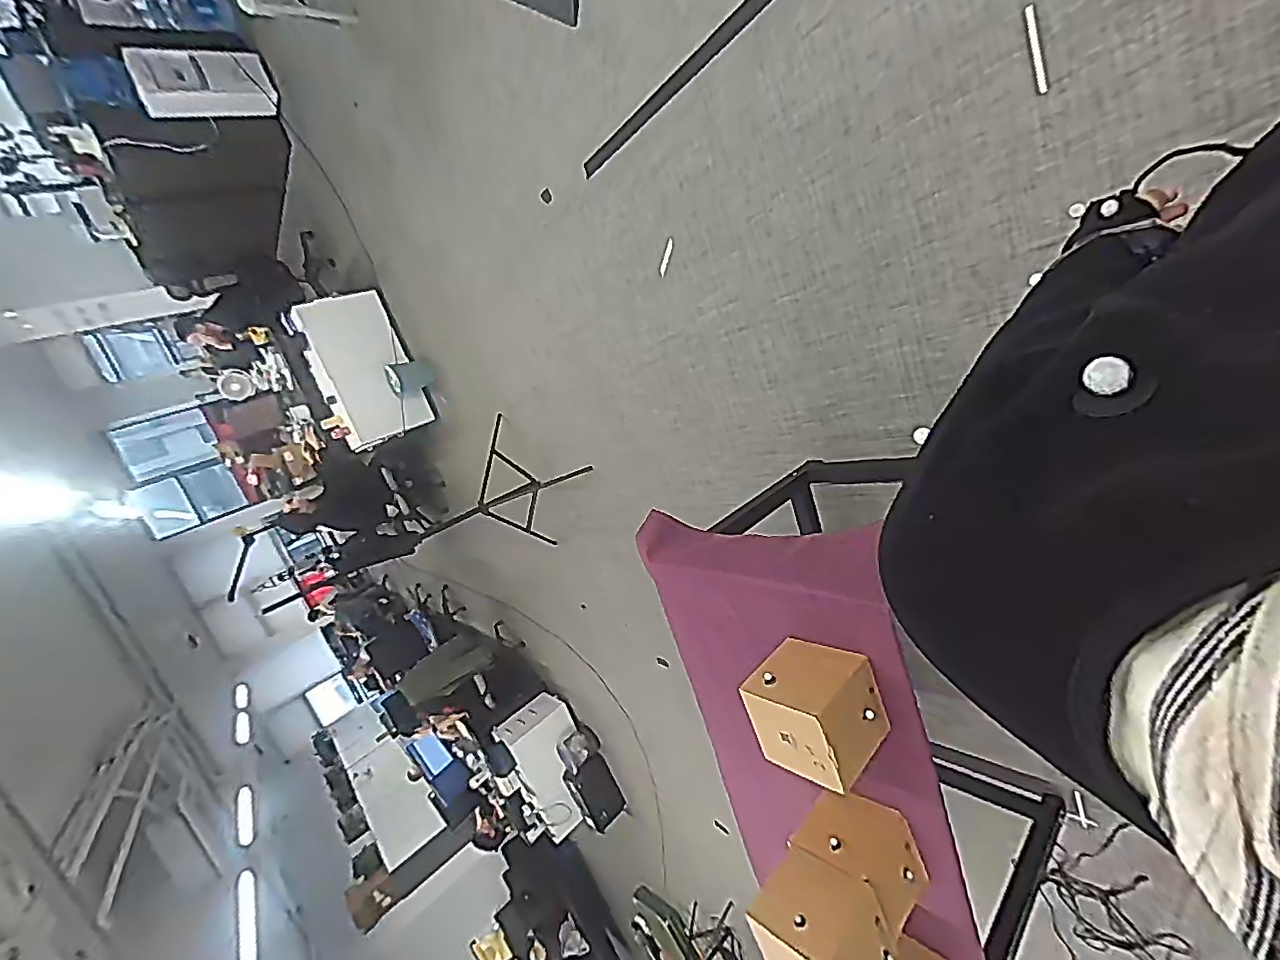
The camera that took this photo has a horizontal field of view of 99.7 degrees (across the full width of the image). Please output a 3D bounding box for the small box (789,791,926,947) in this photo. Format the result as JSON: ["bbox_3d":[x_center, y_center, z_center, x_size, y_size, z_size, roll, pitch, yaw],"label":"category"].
[{"bbox_3d":[0.441,0.770,1.097,0.179,0.176,0.168,-11,105,53],"label":"small box"}]

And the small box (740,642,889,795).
[{"bbox_3d":[0.321,0.422,0.994,0.179,0.176,0.168,-4,112,53],"label":"small box"}]

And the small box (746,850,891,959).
[{"bbox_3d":[0.333,0.832,0.990,0.179,0.176,0.168,-9,107,53],"label":"small box"}]
